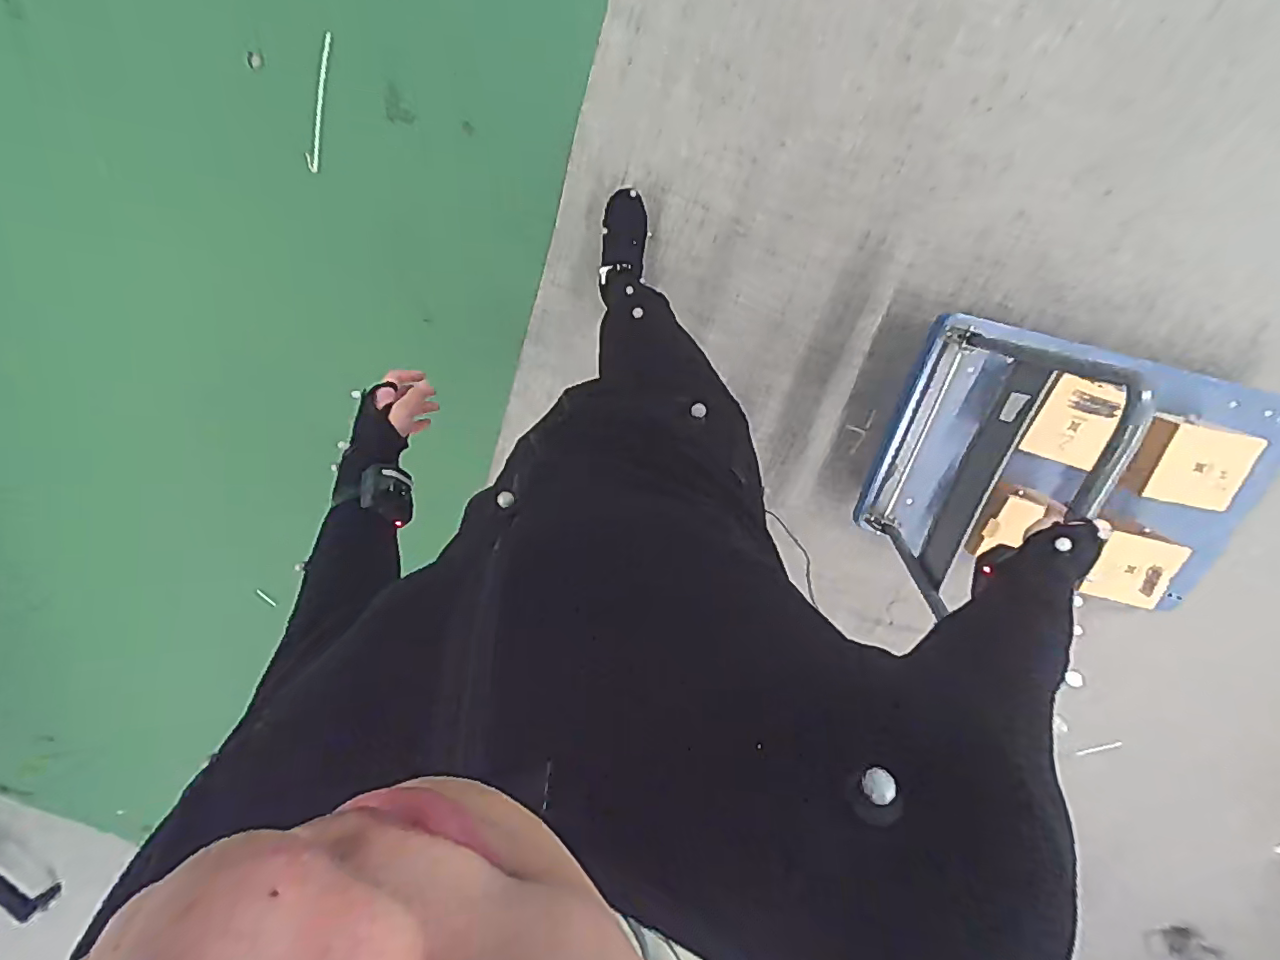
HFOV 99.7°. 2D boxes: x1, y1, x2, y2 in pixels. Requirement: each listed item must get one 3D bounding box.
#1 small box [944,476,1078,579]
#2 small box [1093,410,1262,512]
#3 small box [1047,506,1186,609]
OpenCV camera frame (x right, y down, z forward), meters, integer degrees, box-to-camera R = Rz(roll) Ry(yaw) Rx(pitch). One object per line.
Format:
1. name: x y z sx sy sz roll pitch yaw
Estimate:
1. small box: 0.880 0.106 1.303 0.179 0.176 0.168 17 111 1
2. small box: 1.177 -0.050 1.205 0.179 0.176 0.168 12 112 3
3. small box: 1.118 0.180 1.299 0.179 0.176 0.168 14 111 3
